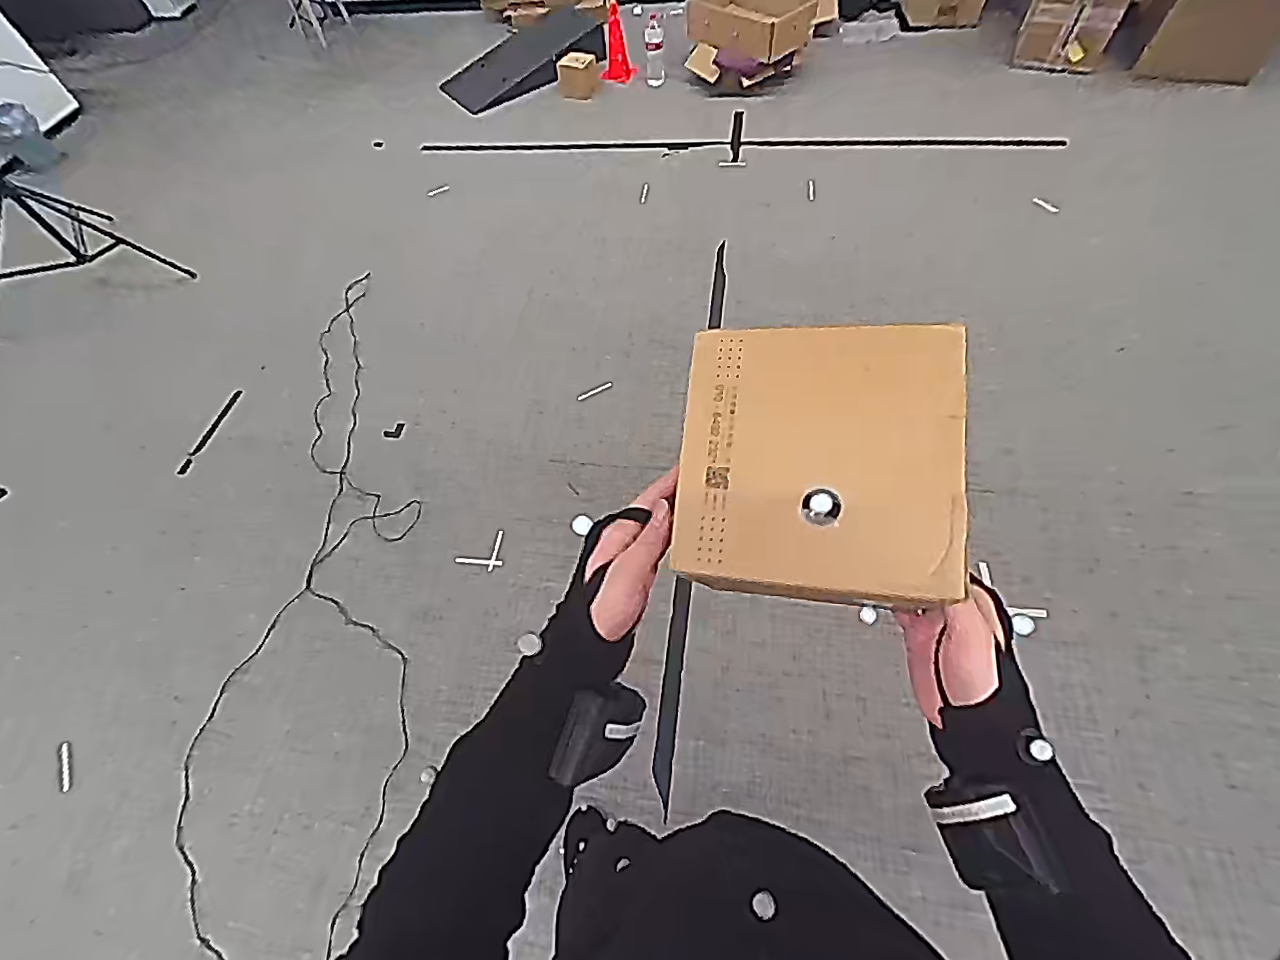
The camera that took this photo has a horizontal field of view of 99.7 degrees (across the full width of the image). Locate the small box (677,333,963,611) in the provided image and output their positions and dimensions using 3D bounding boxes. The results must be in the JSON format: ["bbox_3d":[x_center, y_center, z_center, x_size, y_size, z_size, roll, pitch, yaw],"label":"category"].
[{"bbox_3d":[0.130,0.005,0.418,0.176,0.179,0.168,4,76,16],"label":"small box"}]
